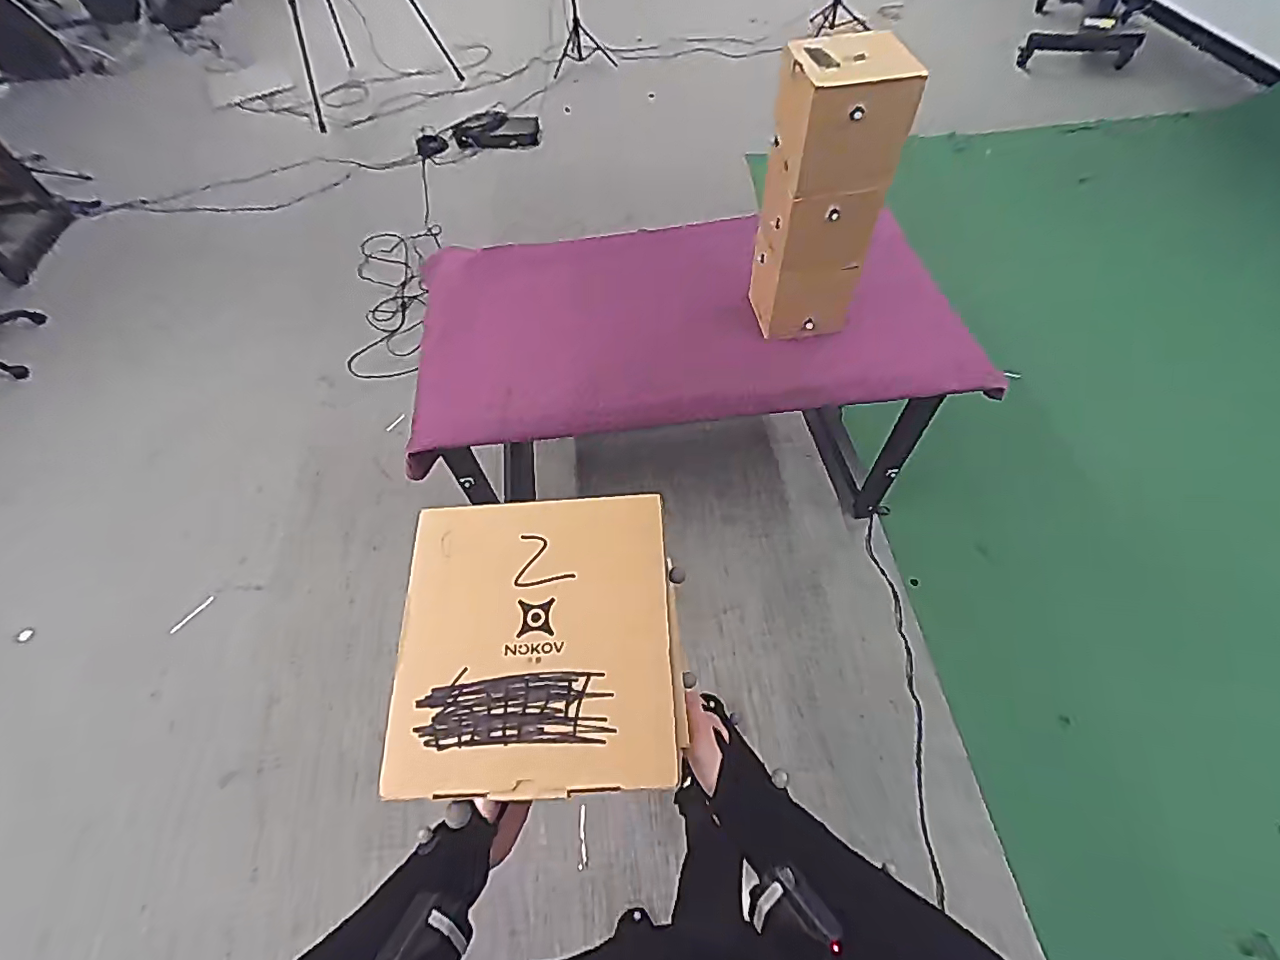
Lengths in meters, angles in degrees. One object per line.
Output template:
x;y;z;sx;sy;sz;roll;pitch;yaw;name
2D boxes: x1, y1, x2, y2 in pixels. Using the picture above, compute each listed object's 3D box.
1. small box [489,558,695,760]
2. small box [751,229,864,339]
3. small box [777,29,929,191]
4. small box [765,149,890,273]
-0.042;0.187;0.557;0.179;0.176;0.168;-6;64;2;small box
0.353;-0.430;1.176;0.179;0.176;0.168;-8;57;-1;small box
0.336;-0.608;0.901;0.179;0.176;0.168;-8;59;-1;small box
0.344;-0.519;1.039;0.179;0.176;0.168;-7;58;0;small box
